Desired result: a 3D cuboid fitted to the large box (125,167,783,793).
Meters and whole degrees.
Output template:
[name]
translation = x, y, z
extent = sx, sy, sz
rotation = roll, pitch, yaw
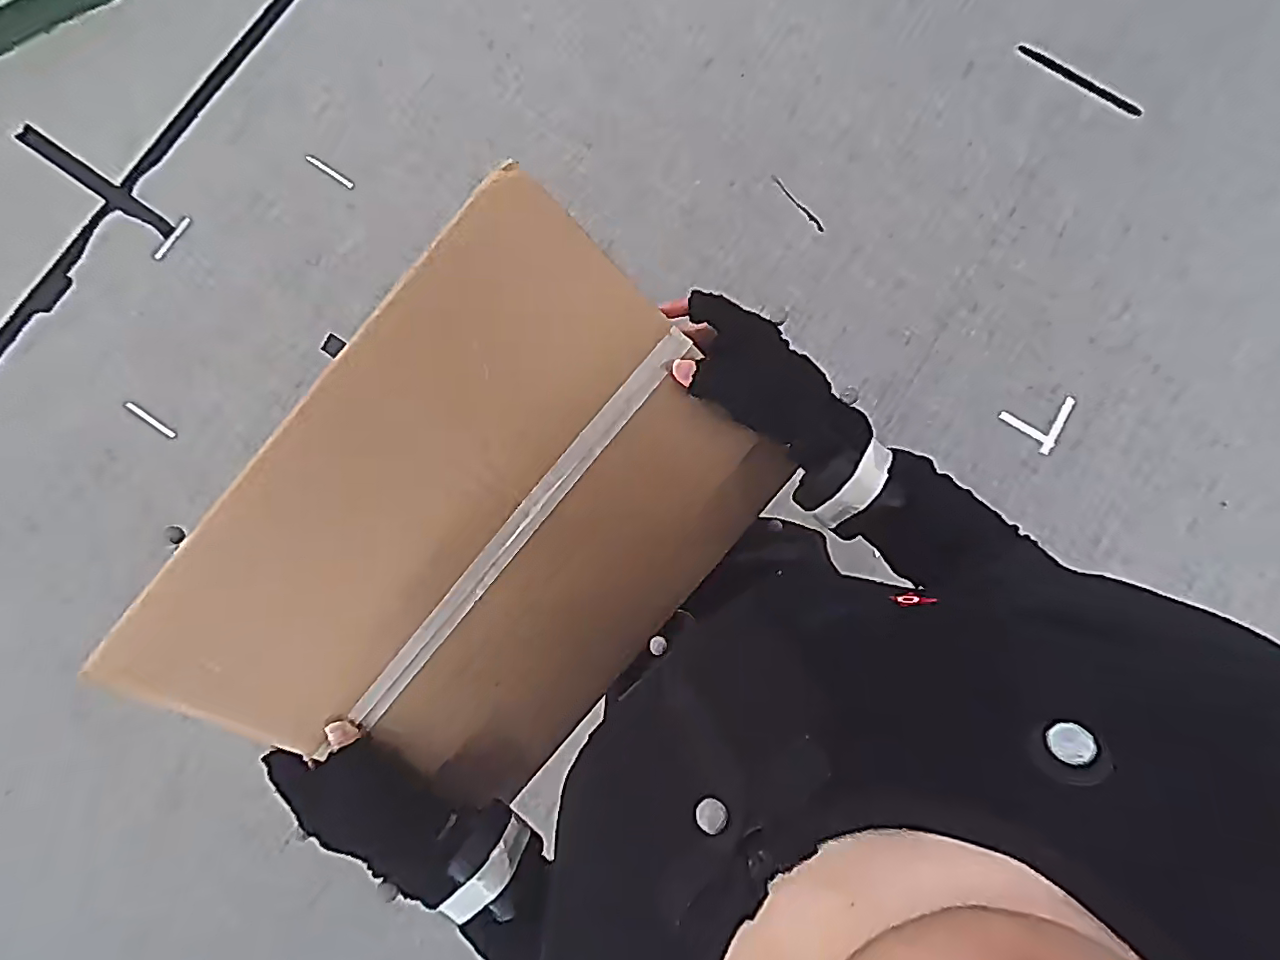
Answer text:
[large box]
translation = -0.153, -0.002, 0.540
extent = 0.320, 0.320, 0.408
rotation = 40, 92, -27
